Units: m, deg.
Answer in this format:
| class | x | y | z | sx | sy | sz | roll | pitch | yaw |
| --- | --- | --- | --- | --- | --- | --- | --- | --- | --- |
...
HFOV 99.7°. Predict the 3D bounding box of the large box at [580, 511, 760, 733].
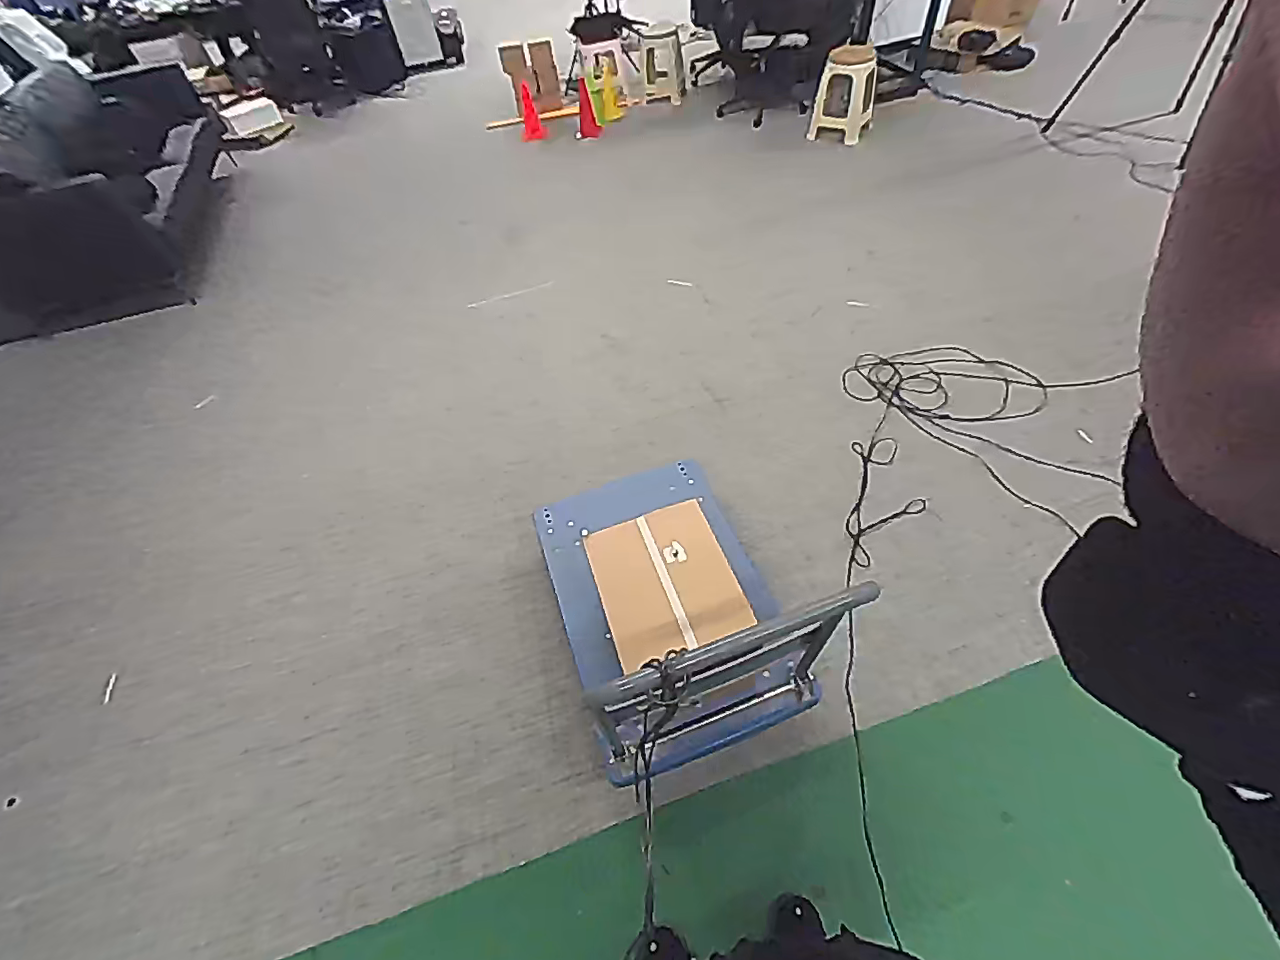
| class | x | y | z | sx | sy | sz | roll | pitch | yaw |
| --- | --- | --- | --- | --- | --- | --- | --- | --- | --- |
| large box | 0.072 | 0.360 | 1.383 | 0.320 | 0.320 | 0.408 | -18 | 51 | -8 |
